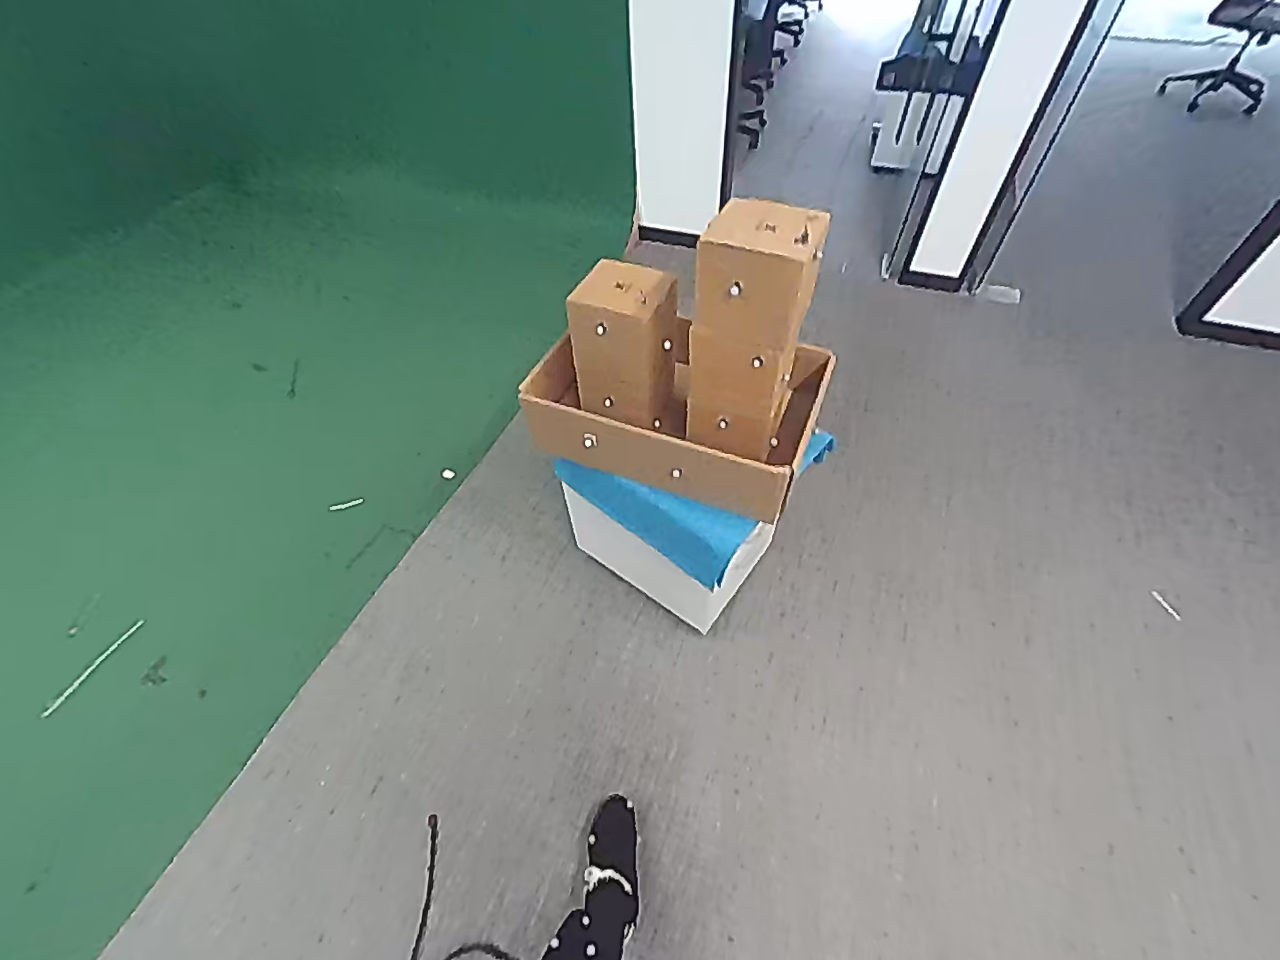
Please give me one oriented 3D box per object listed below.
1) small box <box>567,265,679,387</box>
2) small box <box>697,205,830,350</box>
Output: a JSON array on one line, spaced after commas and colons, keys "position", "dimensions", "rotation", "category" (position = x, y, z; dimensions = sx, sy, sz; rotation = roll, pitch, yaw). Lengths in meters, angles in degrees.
[{"position": [-0.031, -0.319, 1.129], "dimensions": [0.179, 0.176, 0.168], "rotation": [18, 54, 15], "category": "small box"}, {"position": [0.206, -0.348, 0.936], "dimensions": [0.179, 0.176, 0.168], "rotation": [19, 54, 18], "category": "small box"}]
